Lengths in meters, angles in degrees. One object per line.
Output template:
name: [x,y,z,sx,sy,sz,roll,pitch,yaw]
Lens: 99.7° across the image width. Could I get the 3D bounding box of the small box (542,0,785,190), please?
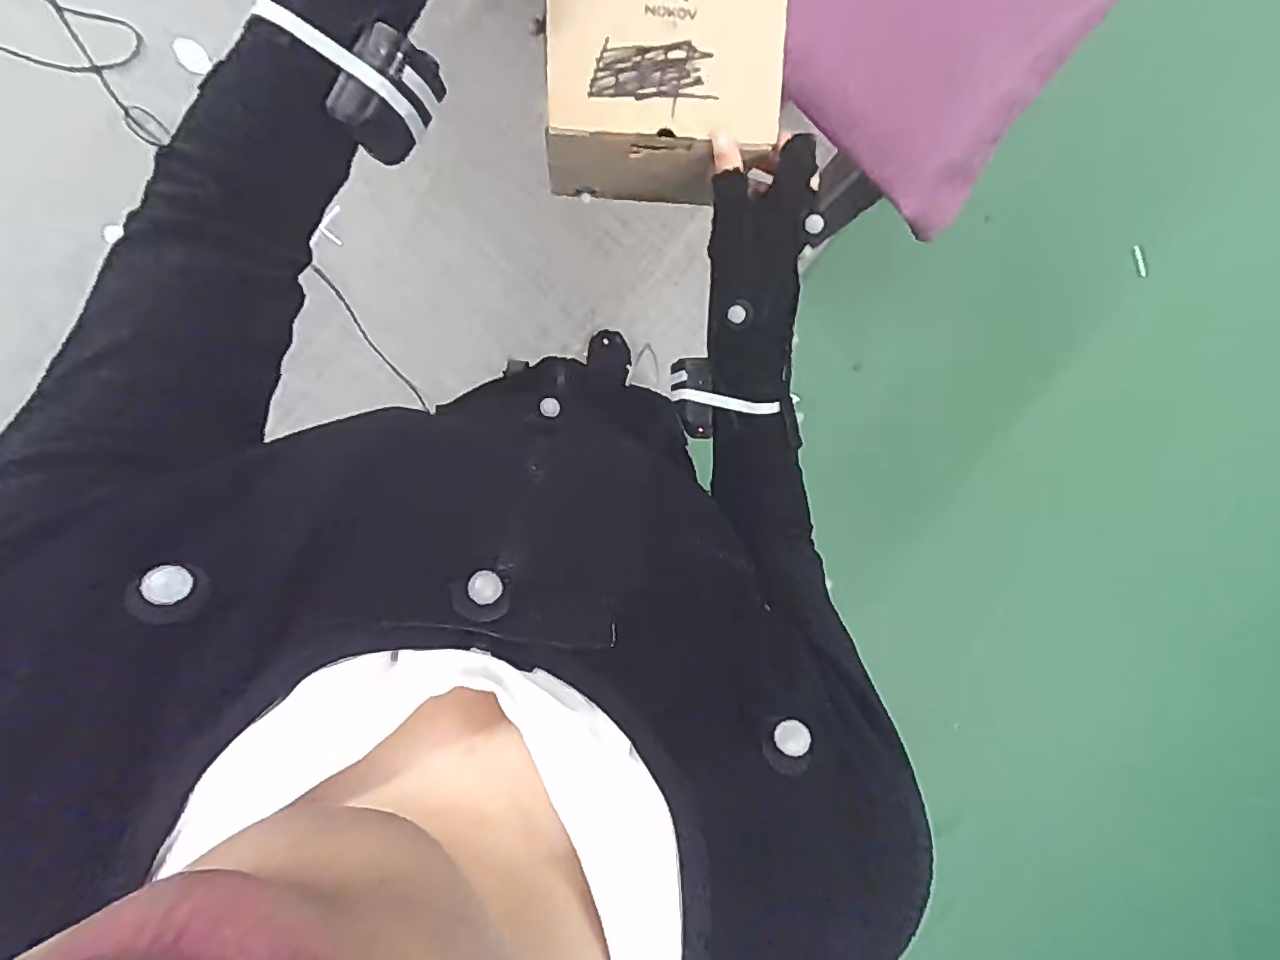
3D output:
small box: [0.008,-0.352,0.435,0.168,0.176,0.179,0,103,-8]
